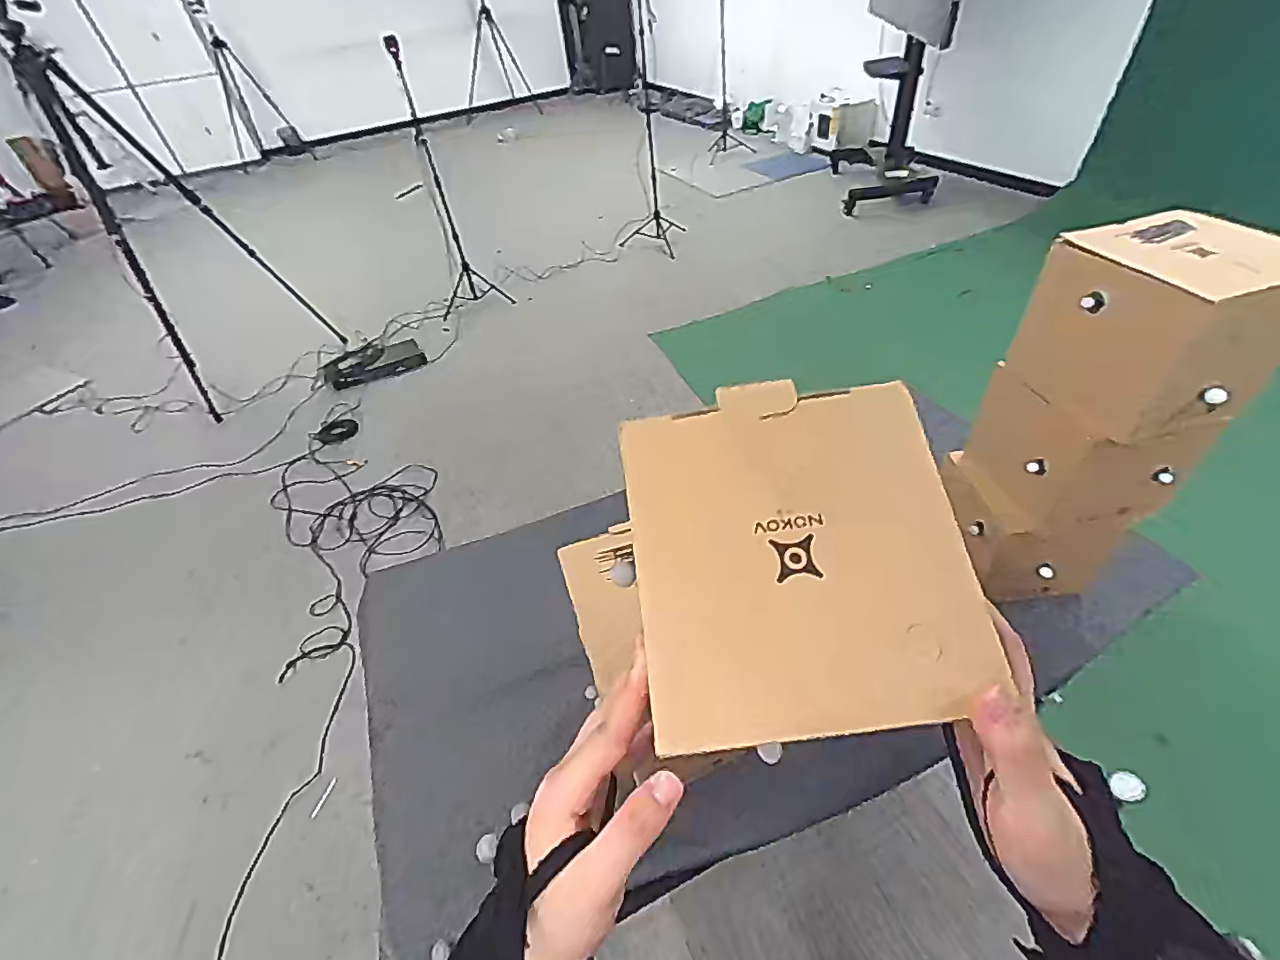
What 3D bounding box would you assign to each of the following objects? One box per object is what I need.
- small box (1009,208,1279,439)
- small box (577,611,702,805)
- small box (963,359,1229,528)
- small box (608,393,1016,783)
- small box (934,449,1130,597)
[{"bbox_3d":[0.555,-0.171,0.589,0.168,0.176,0.179,-15,44,-7],"label":"small box"},{"bbox_3d":[0.034,0.274,0.696,0.168,0.176,0.179,-22,45,-13],"label":"small box"},{"bbox_3d":[0.565,-0.054,0.704,0.168,0.176,0.179,-10,42,-3],"label":"small box"},{"bbox_3d":[0.082,0.073,0.341,0.168,0.176,0.179,-9,66,3],"label":"small box"},{"bbox_3d":[0.563,0.062,0.819,0.168,0.176,0.179,-7,42,2],"label":"small box"}]
